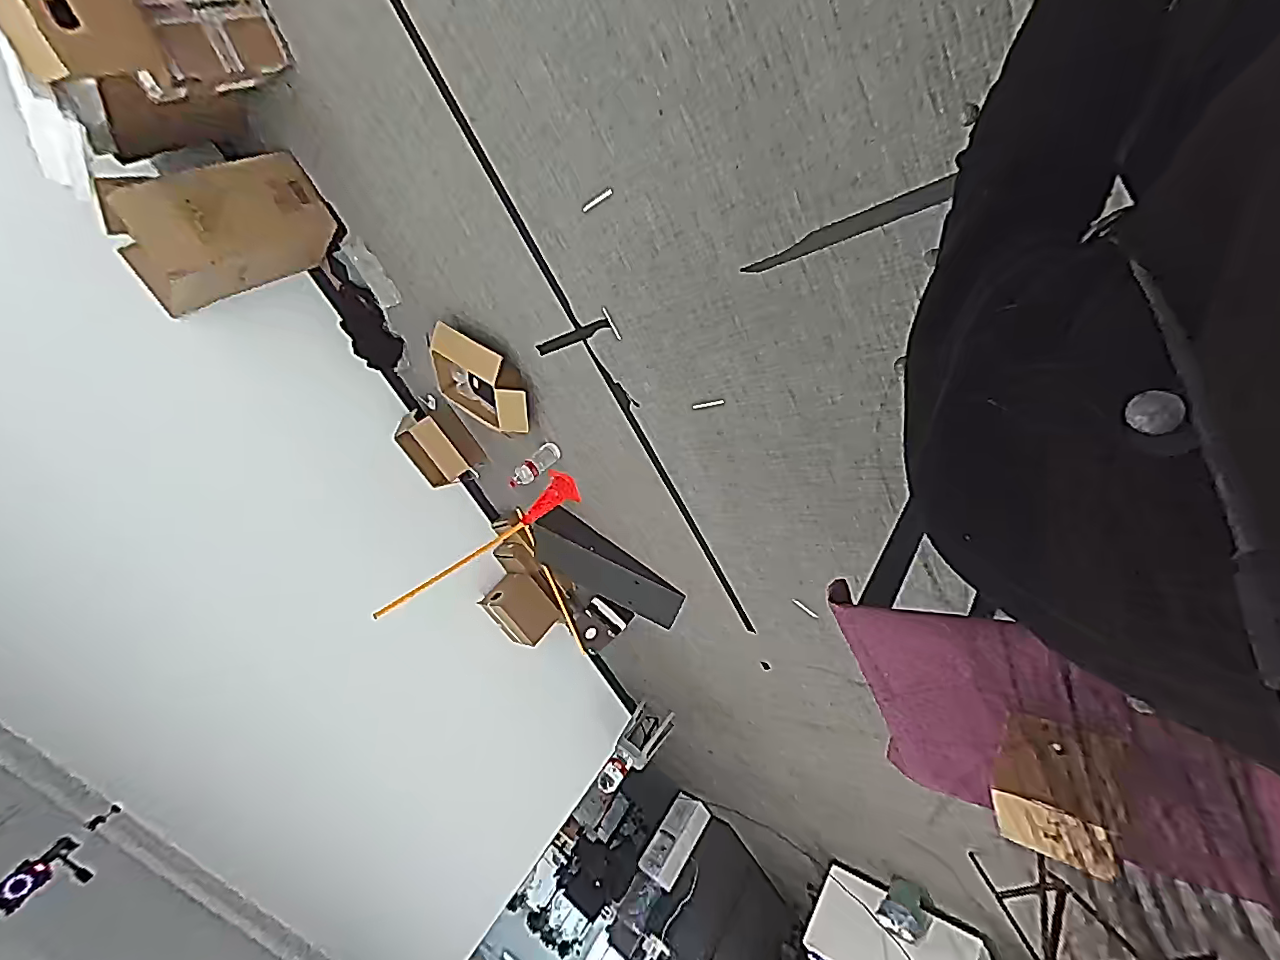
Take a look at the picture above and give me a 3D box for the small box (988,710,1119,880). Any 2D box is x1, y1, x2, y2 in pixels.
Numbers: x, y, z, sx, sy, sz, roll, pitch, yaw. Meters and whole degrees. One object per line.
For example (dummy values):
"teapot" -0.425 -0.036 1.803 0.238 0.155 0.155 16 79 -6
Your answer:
"small box" 0.748 0.557 0.975 0.168 0.176 0.179 2 128 44
